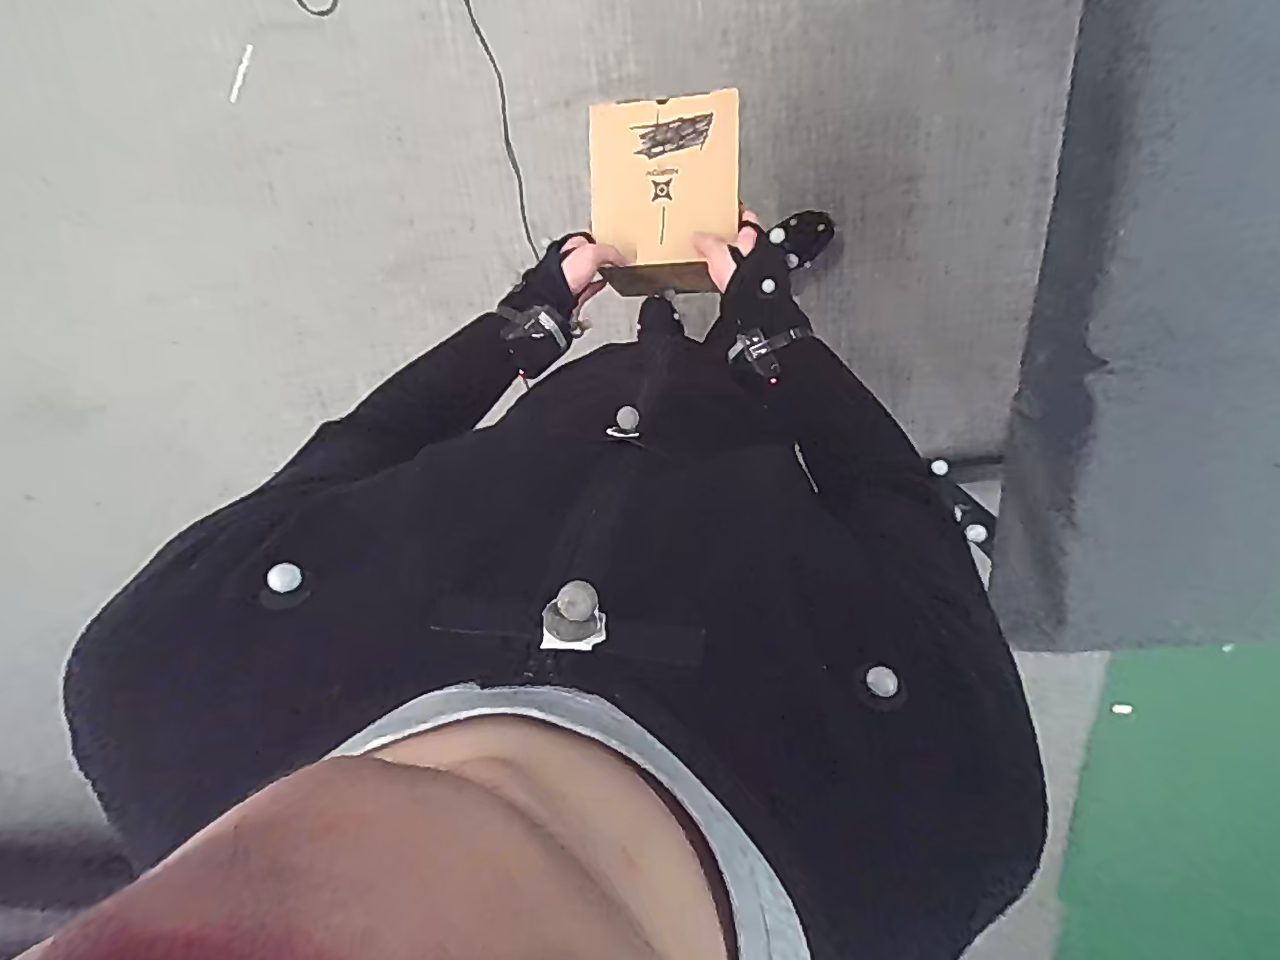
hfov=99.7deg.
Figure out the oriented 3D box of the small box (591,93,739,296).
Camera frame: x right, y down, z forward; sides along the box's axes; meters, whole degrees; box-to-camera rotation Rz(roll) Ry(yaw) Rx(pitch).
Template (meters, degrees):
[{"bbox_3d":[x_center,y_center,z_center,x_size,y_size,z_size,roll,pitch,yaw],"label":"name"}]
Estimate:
[{"bbox_3d":[0.038,-0.341,0.680,0.168,0.176,0.179,0,98,10],"label":"small box"}]
